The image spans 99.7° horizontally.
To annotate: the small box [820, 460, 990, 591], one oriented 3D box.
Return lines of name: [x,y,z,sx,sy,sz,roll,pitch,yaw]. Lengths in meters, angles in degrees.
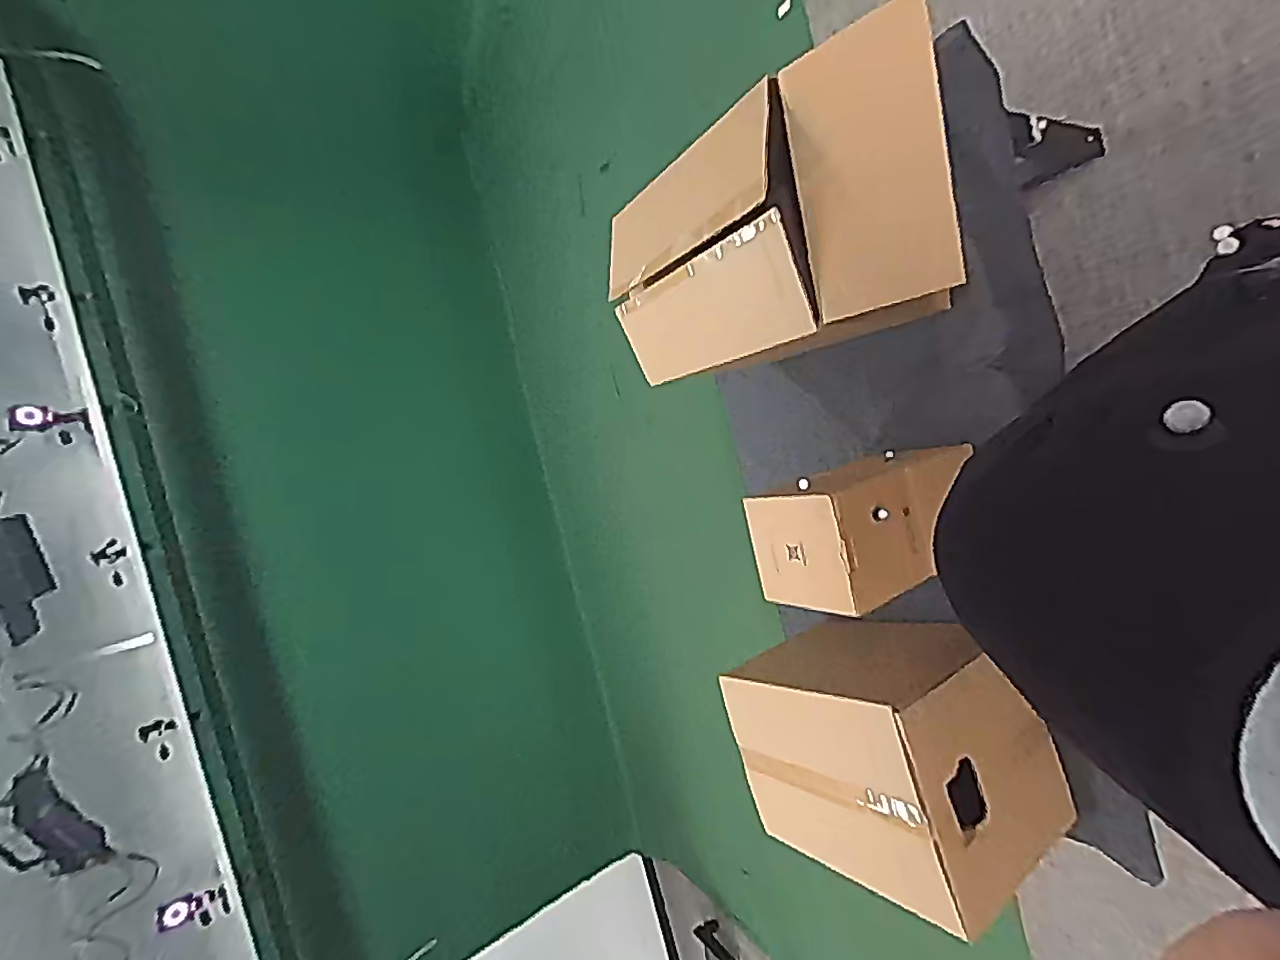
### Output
small box: [0.436,0.070,0.896,0.179,0.176,0.168,-8,98,60]

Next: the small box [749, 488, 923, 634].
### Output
small box: [0.299,0.112,0.819,0.179,0.176,0.168,-9,96,62]
